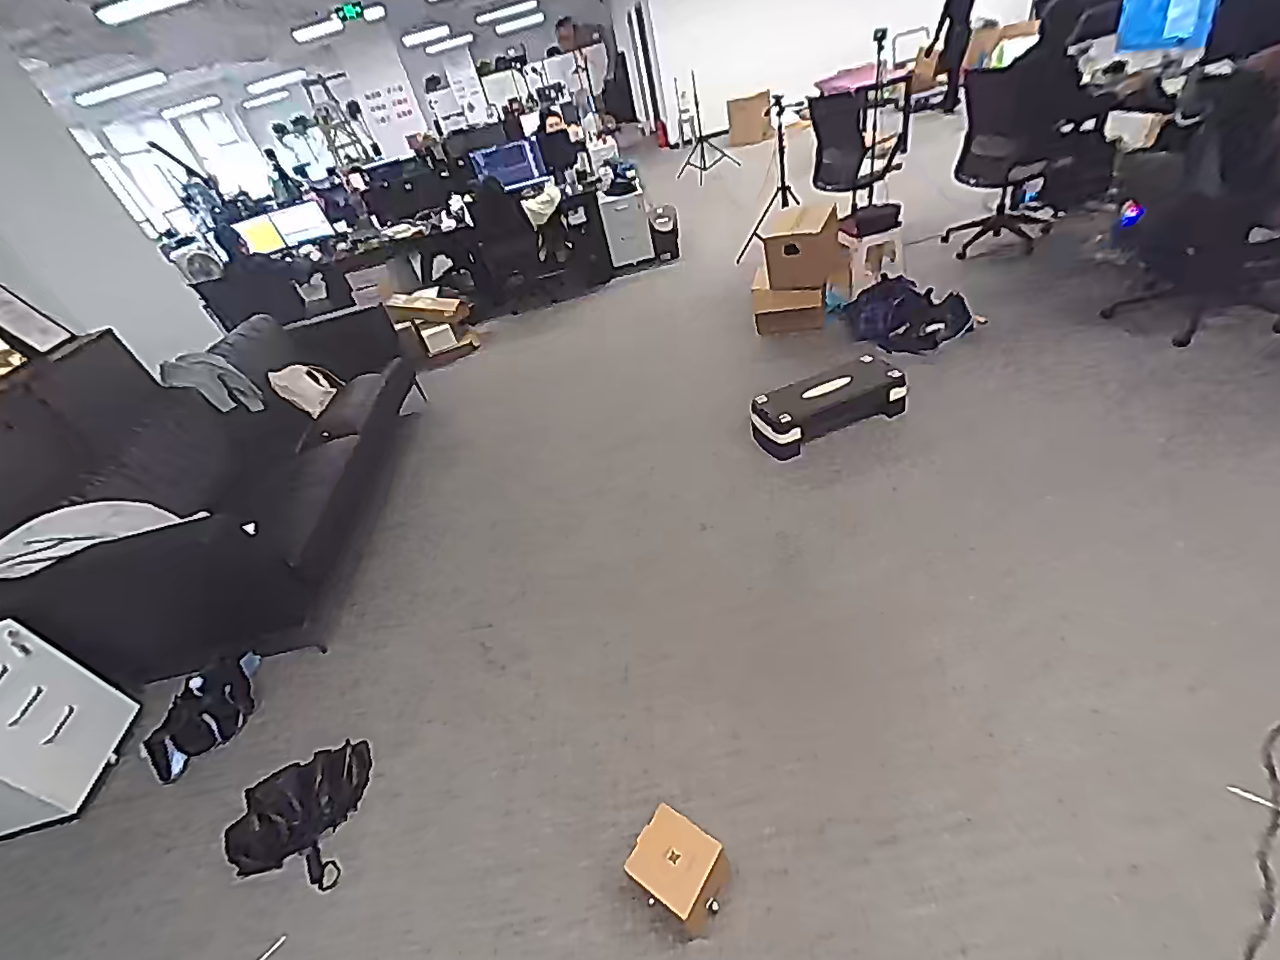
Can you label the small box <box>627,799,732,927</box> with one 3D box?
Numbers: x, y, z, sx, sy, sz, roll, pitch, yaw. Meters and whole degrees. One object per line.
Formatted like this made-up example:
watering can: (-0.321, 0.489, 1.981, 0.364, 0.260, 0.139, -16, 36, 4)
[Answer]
small box: (0.099, 0.909, 1.281, 0.179, 0.176, 0.168, 16, 50, 34)
